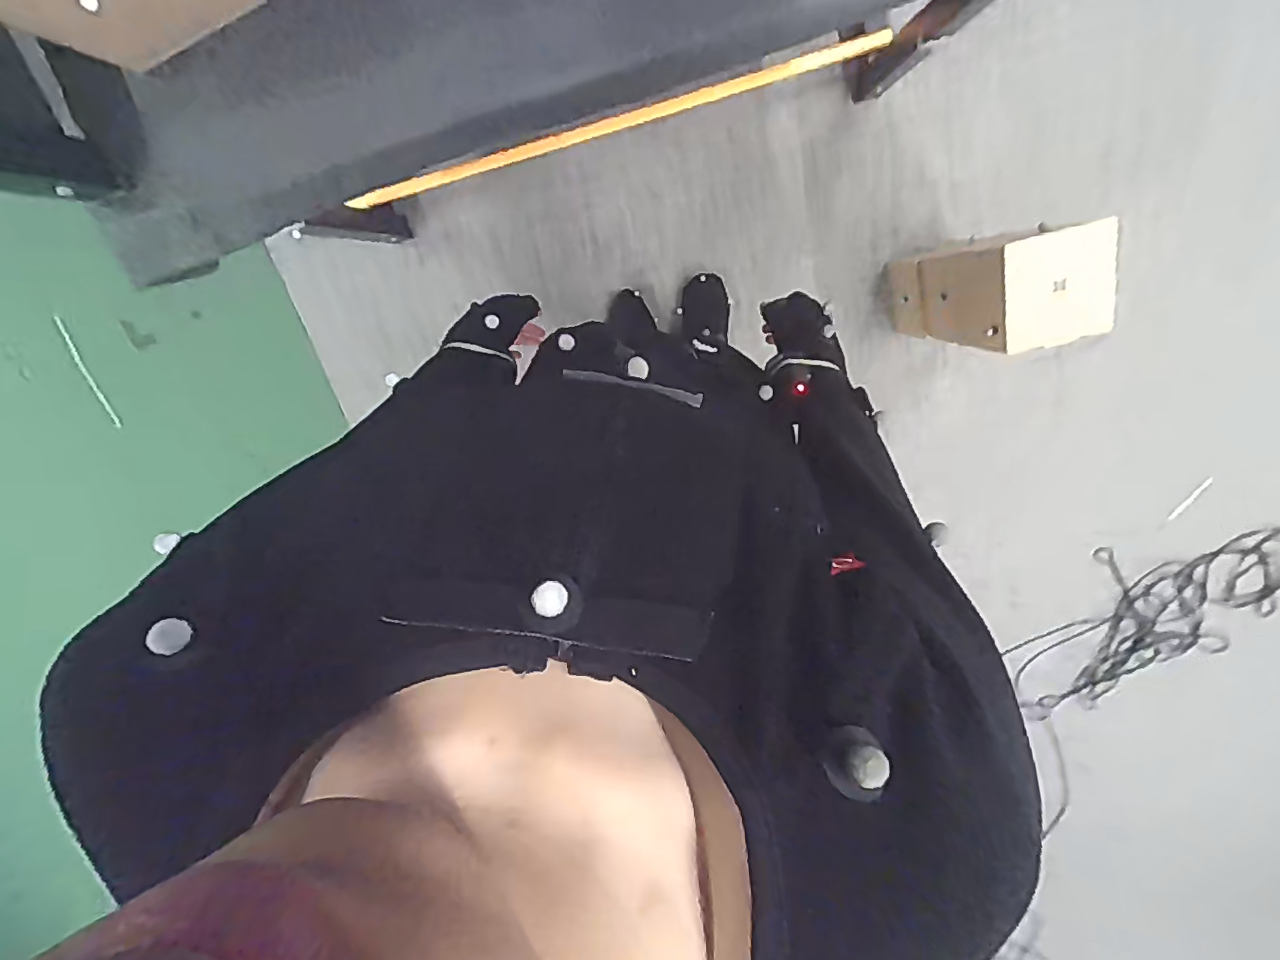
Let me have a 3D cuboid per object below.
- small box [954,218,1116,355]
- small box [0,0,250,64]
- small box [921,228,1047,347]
[{"bbox_3d":[0.660,-0.326,0.924,0.168,0.176,0.179,-12,110,8],"label":"small box"},{"bbox_3d":[-0.506,-0.518,0.481,0.179,0.176,0.168,-19,109,9],"label":"small box"},{"bbox_3d":[0.684,-0.382,1.076,0.168,0.176,0.179,-15,108,9],"label":"small box"}]
